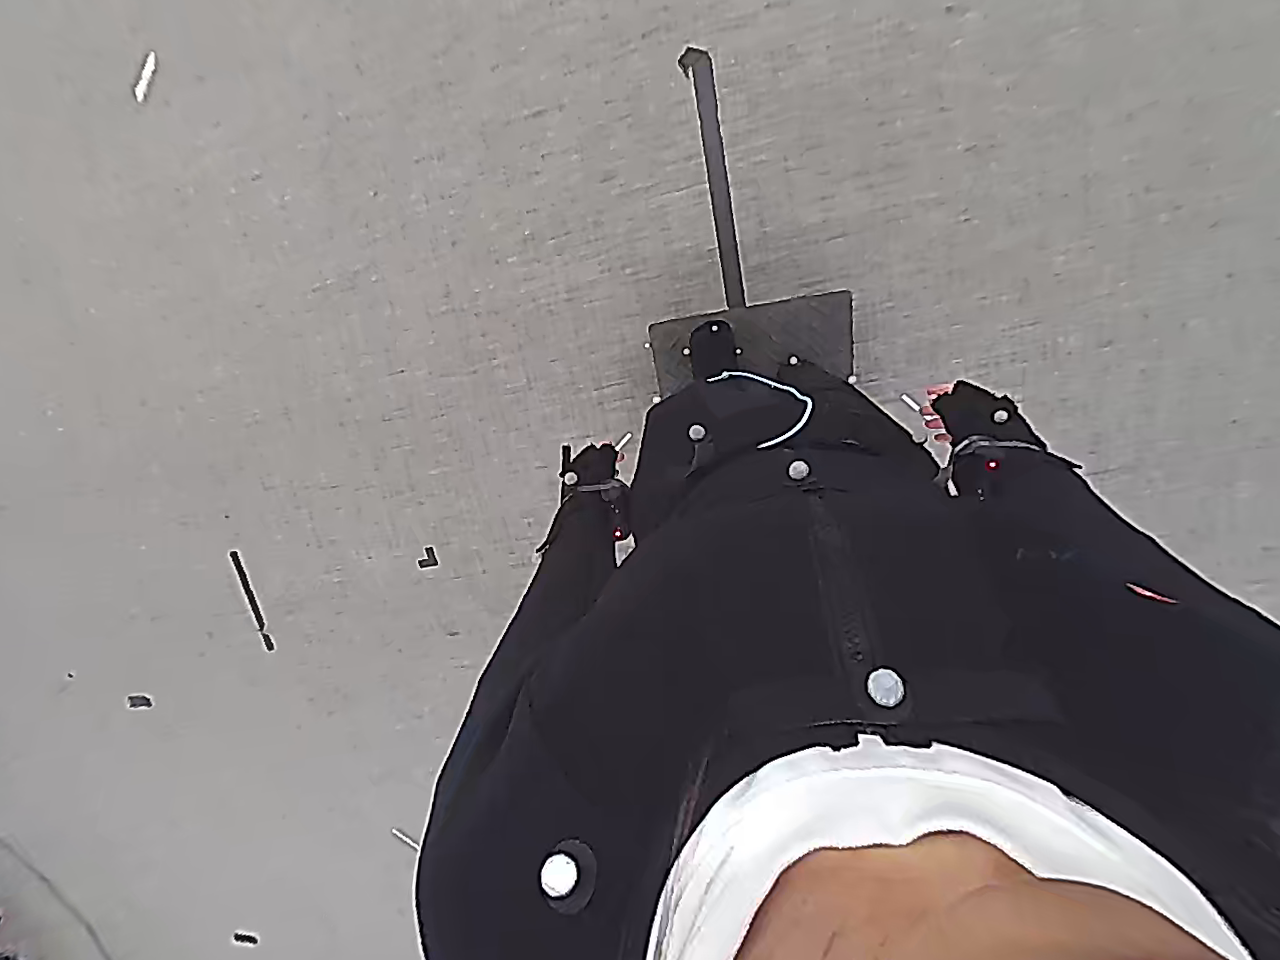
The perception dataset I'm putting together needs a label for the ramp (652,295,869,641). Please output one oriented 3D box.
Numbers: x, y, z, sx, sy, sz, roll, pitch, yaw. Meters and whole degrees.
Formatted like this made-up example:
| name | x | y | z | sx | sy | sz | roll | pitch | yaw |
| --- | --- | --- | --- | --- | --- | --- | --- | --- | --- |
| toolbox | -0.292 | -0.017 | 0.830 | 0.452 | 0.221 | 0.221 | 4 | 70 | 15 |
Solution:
| name | x | y | z | sx | sy | sz | roll | pitch | yaw |
| --- | --- | --- | --- | --- | --- | --- | --- | --- | --- |
| ramp | 0.371 | 0.039 | 1.518 | 0.509 | 0.206 | 0.991 | -11 | 104 | 9 |
